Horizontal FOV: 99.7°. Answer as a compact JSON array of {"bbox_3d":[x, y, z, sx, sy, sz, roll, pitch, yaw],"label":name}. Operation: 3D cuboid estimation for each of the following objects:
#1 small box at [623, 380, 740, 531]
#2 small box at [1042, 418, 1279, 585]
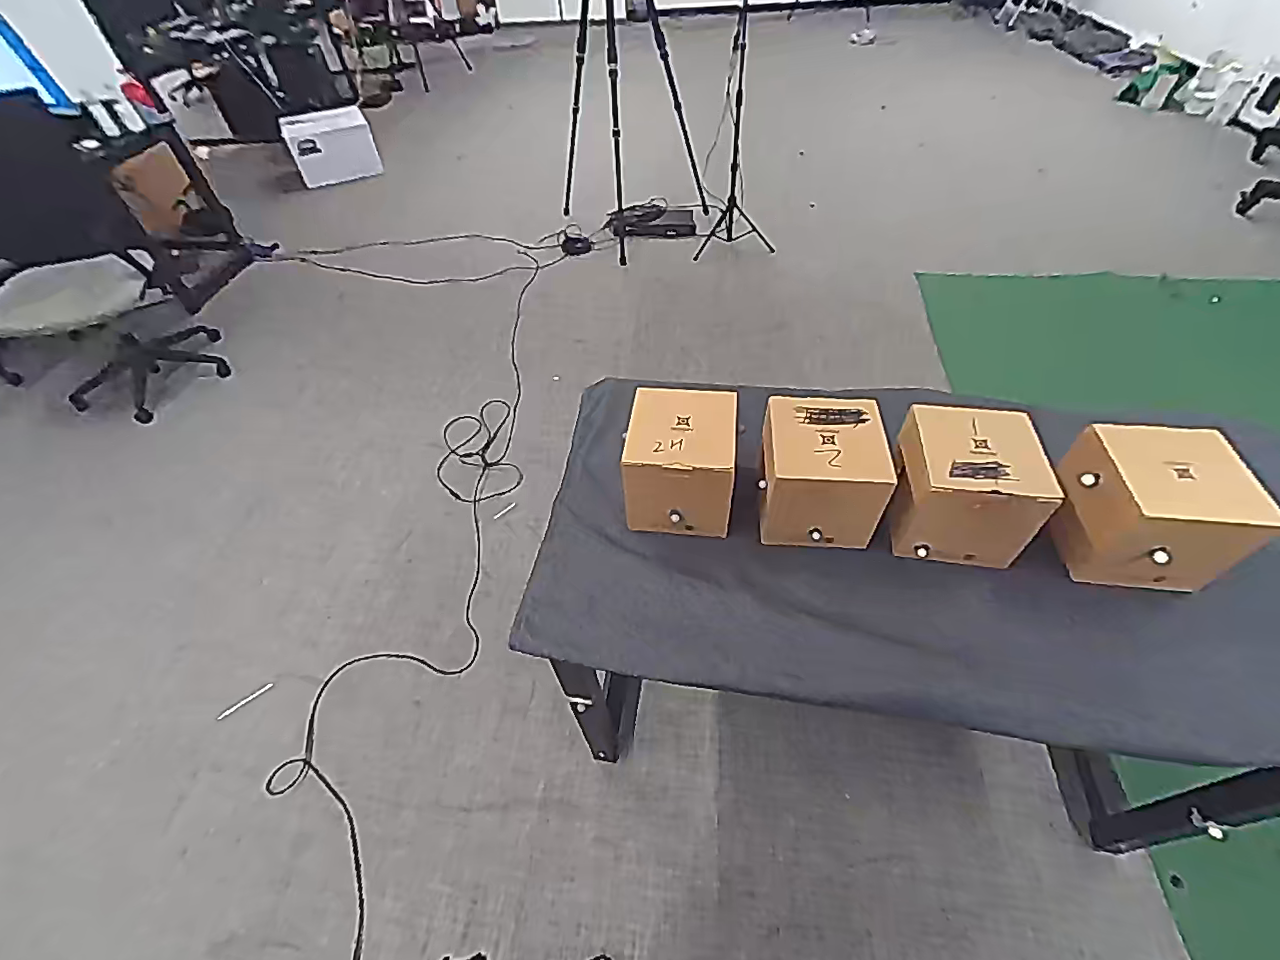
[{"bbox_3d":[0.070,-0.041,0.886,0.168,0.176,0.179,4,50,7],"label":"small box"},{"bbox_3d":[0.730,0.033,0.780,0.168,0.176,0.179,4,50,8],"label":"small box"}]
